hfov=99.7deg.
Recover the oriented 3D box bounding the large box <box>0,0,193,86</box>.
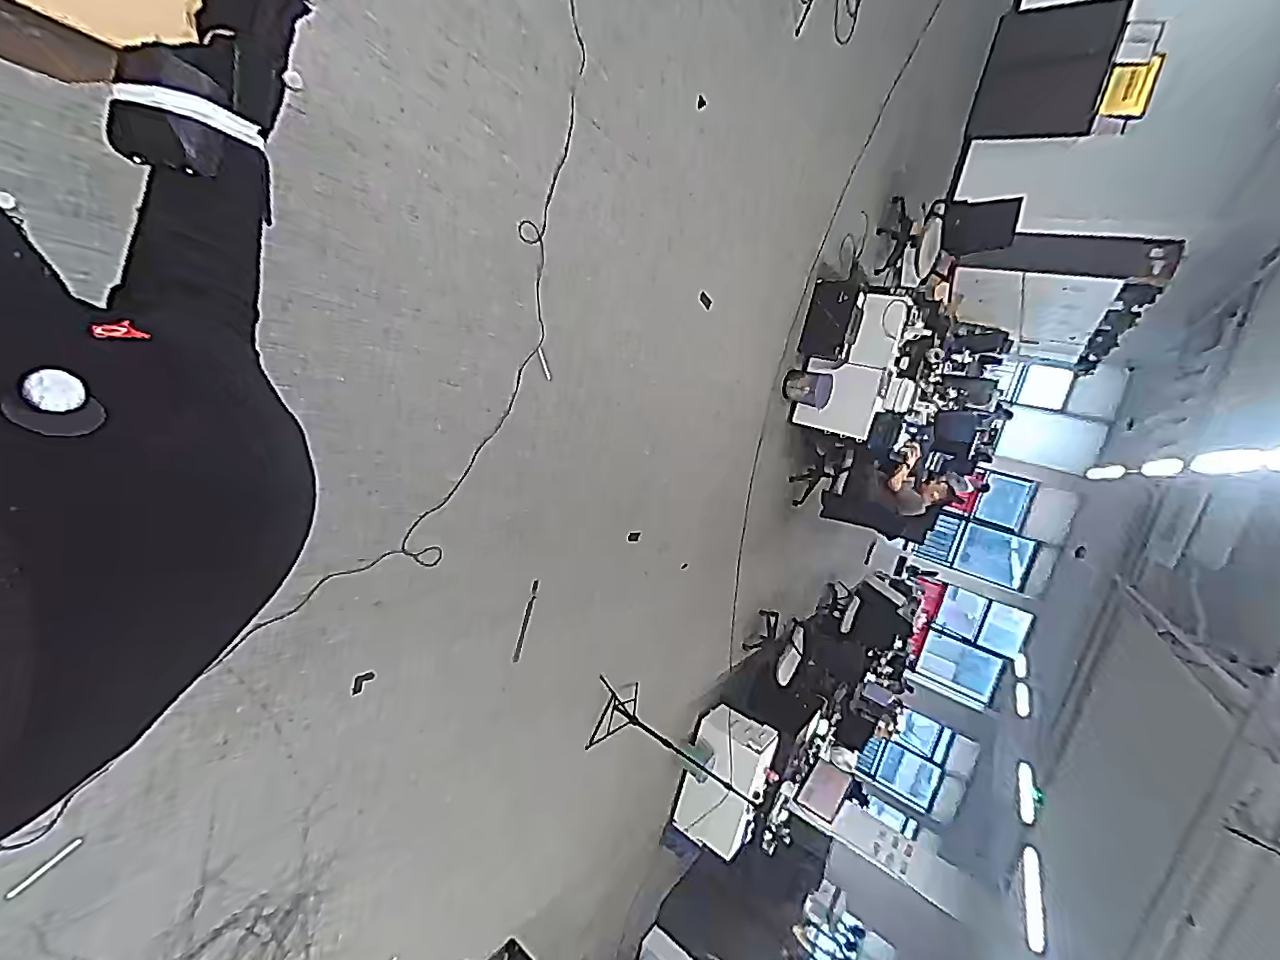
[{"bbox_3d":[-0.503,-0.454,0.247,0.408,0.320,0.320,-6,117,-58],"label":"large box"}]
